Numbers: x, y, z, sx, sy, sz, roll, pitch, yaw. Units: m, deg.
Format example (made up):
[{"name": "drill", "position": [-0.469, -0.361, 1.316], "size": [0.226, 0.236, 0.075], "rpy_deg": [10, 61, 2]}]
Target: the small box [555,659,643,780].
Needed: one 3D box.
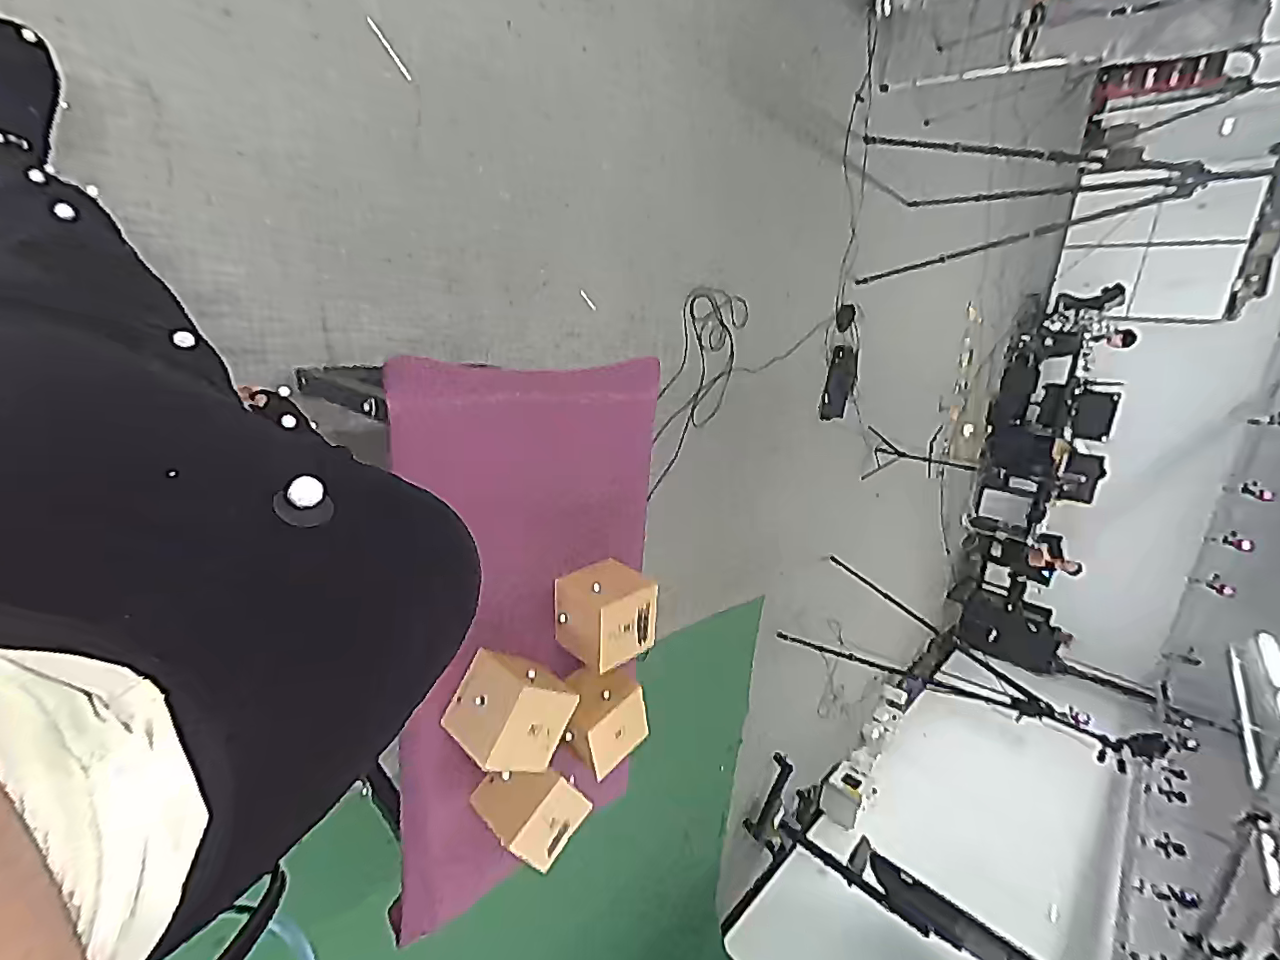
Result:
[{"name": "small box", "position": [-0.118, 0.584, 1.339], "size": [0.179, 0.176, 0.168], "rpy_deg": [-29, 123, -38]}]

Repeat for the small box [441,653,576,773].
[{"name": "small box", "position": [-0.275, 0.480, 1.123], "size": [0.179, 0.176, 0.168], "rpy_deg": [39, 75, -48]}]

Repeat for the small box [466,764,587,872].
[{"name": "small box", "position": [-0.259, 0.740, 1.237], "size": [0.168, 0.176, 0.179], "rpy_deg": [-47, 132, -26]}]
